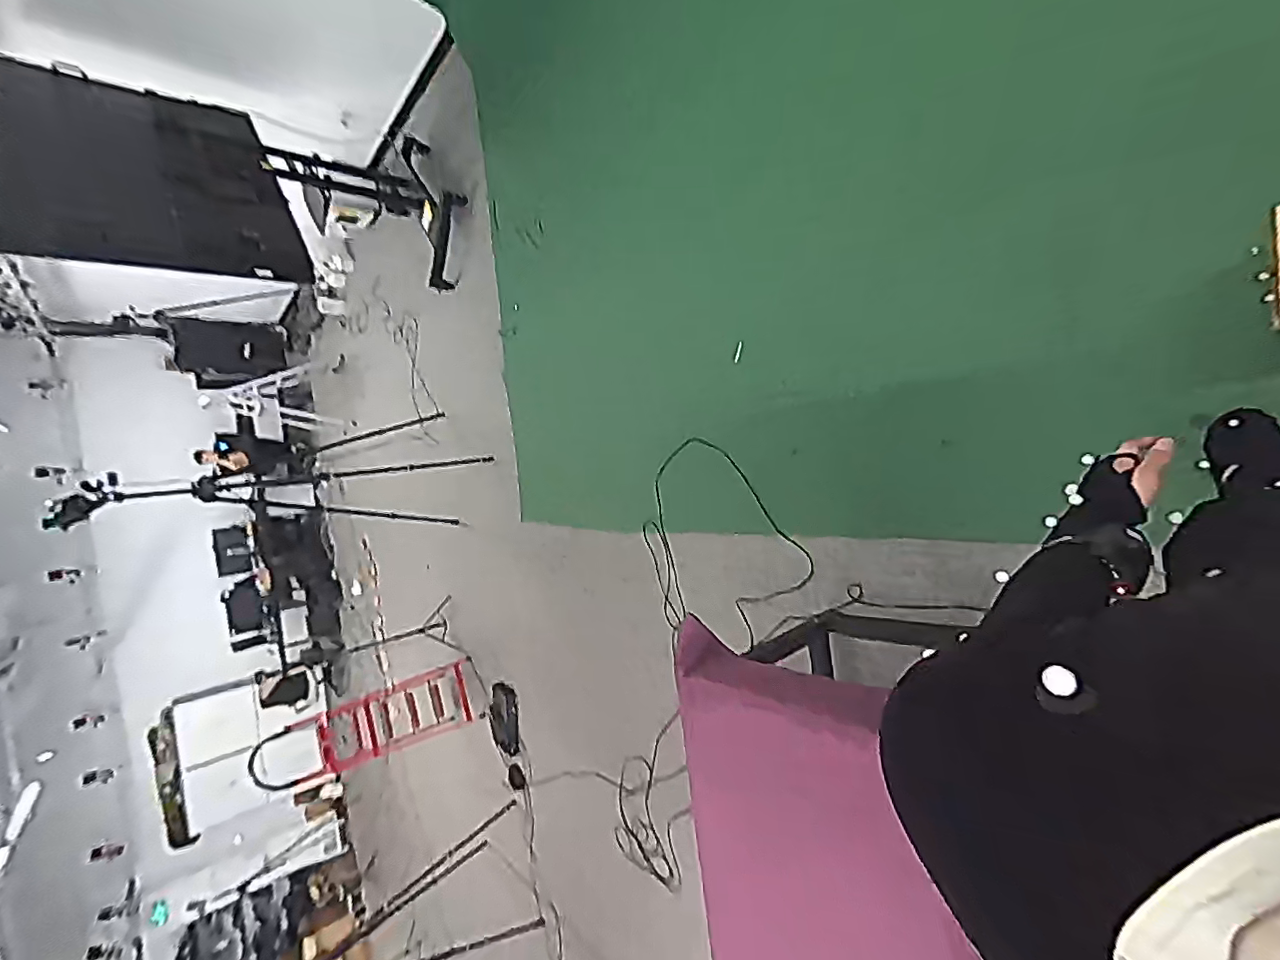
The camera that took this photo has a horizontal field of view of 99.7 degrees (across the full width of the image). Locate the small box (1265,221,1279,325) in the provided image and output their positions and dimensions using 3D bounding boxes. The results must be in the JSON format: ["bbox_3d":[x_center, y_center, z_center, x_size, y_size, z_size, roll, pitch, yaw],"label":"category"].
[{"bbox_3d":[1.224,-0.375,0.945,0.168,0.176,0.179,-4,92,48],"label":"small box"}]
